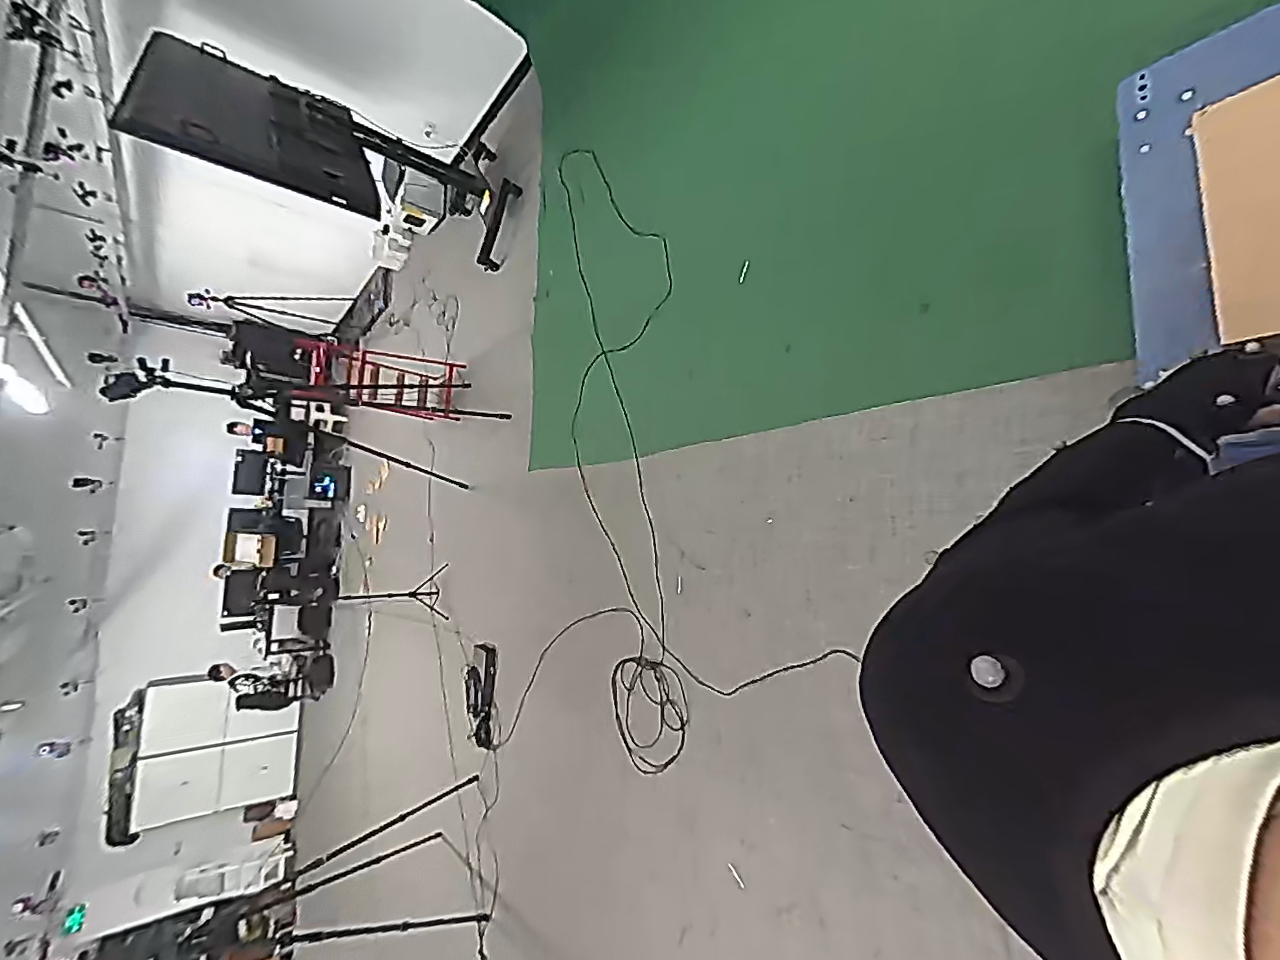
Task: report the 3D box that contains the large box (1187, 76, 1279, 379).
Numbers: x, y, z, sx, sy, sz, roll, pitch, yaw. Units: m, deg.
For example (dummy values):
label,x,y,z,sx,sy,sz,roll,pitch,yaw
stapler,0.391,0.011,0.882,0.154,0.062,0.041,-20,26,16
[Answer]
label,x,y,z,sx,sy,sz,roll,pitch,yaw
large box,1.135,-0.416,0.860,0.320,0.320,0.408,-8,78,49
